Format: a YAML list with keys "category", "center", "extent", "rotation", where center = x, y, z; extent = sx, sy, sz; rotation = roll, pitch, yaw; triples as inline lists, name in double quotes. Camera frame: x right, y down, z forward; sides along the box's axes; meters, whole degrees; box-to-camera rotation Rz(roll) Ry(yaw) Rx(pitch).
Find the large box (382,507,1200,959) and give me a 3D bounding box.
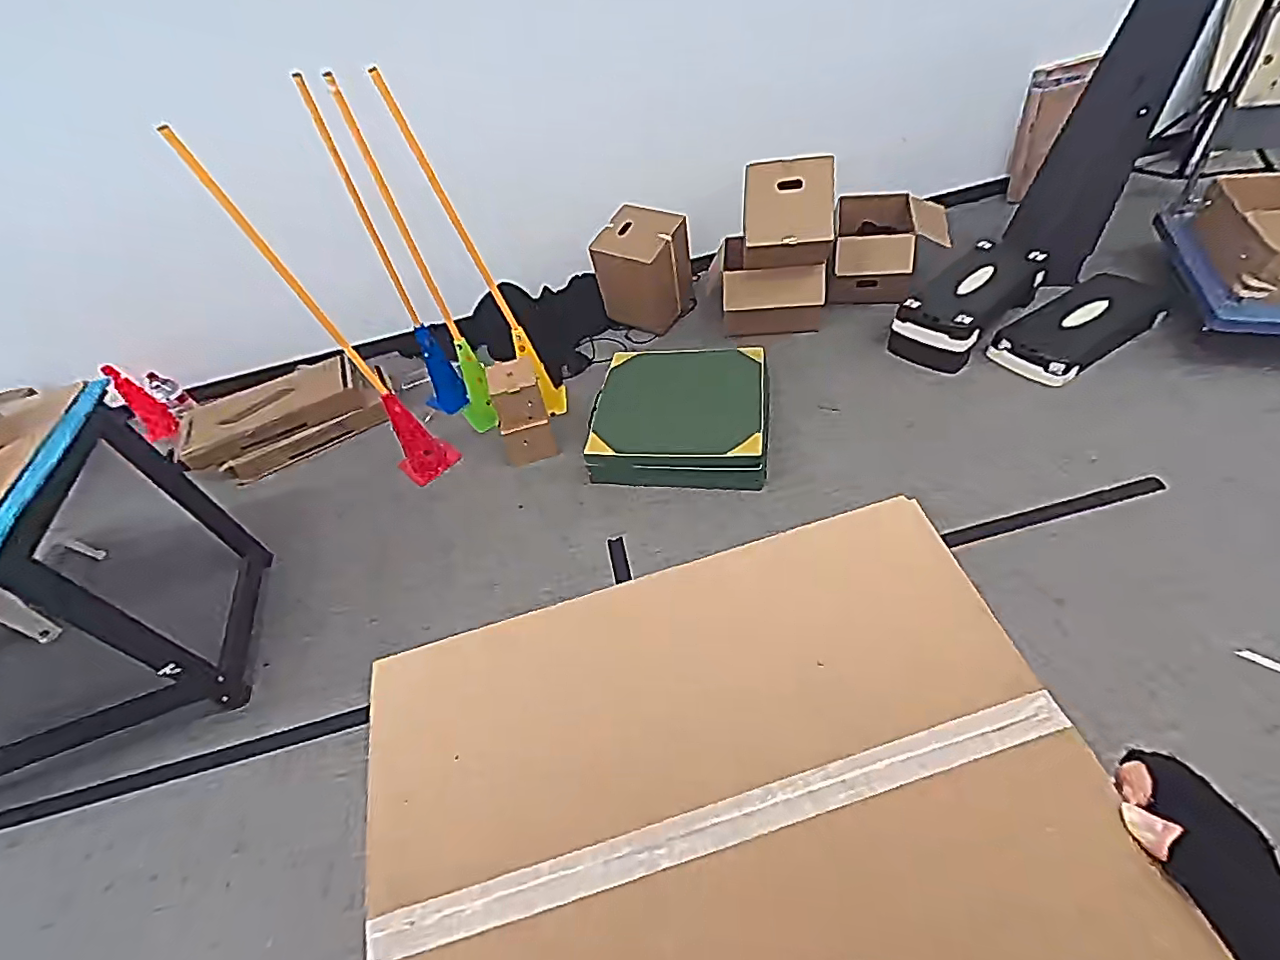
- category: "large box"
  center: [0.067, 0.278, 0.435]
  extent: [0.408, 0.320, 0.320]
  rotation: [-18, 55, -2]
